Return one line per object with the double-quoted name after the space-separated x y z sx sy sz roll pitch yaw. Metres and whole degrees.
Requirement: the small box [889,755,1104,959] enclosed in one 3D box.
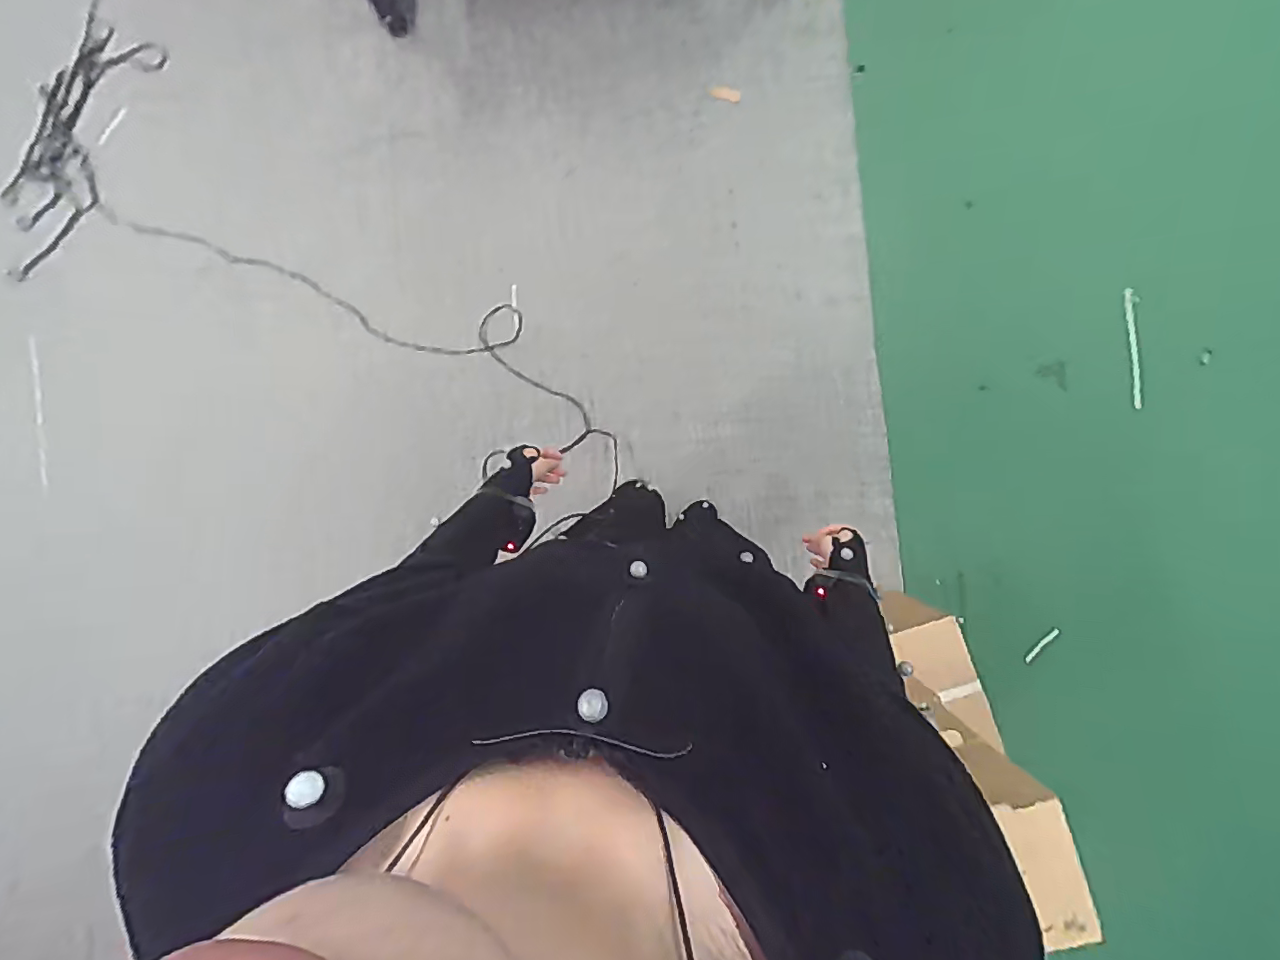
0.470 0.505 0.745 0.168 0.176 0.179 -15 85 5 "small box"
